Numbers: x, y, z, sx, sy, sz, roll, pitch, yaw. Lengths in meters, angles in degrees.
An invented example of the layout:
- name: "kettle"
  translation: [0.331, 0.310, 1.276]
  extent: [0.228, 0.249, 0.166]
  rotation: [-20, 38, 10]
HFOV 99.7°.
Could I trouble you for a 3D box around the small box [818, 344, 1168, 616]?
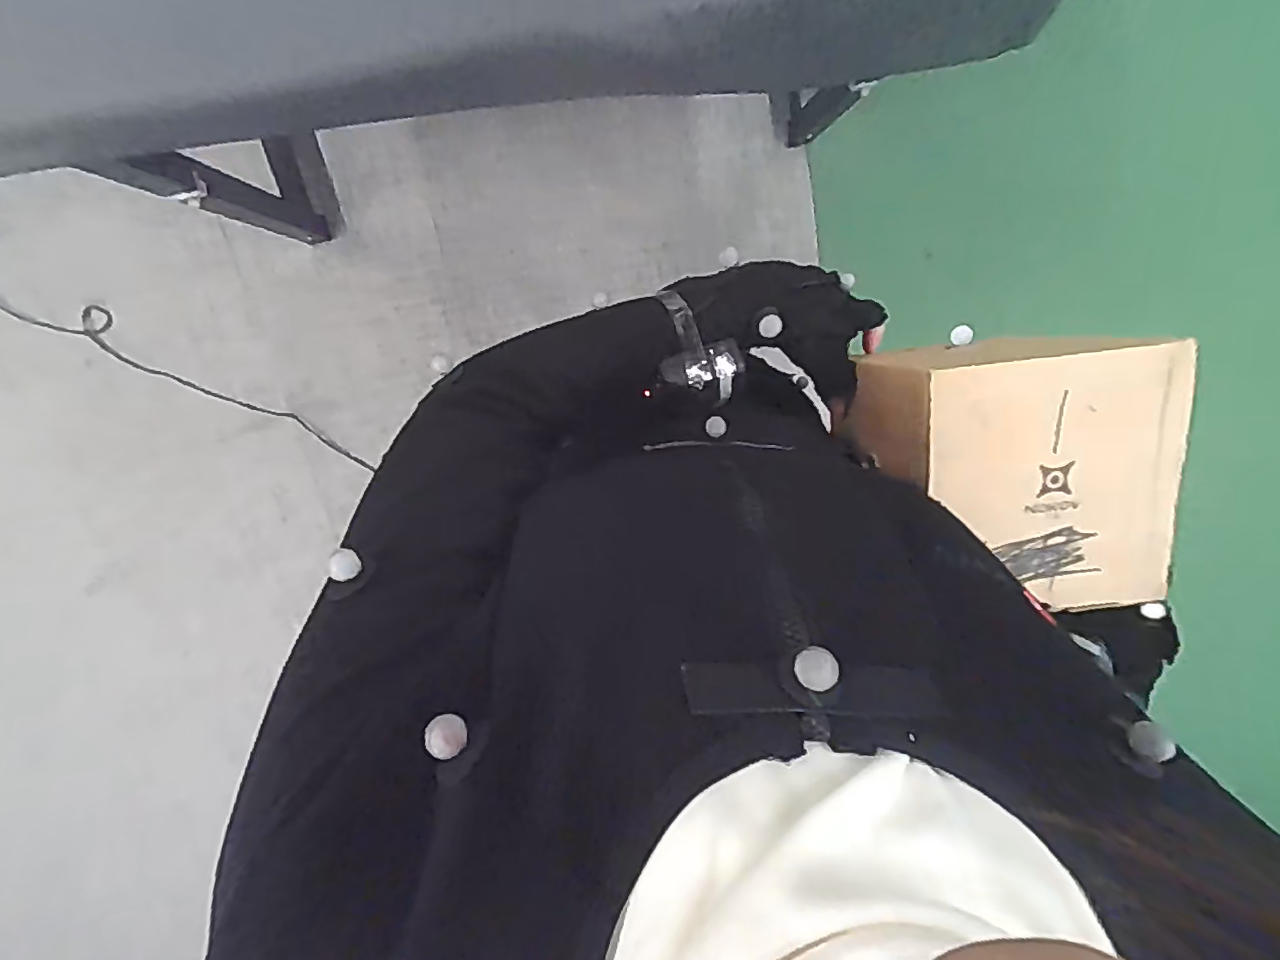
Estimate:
- name: "small box"
  translation: [0.253, -0.014, 0.436]
  extent: [0.168, 0.176, 0.179]
  rotation: [-5, 105, -1]
